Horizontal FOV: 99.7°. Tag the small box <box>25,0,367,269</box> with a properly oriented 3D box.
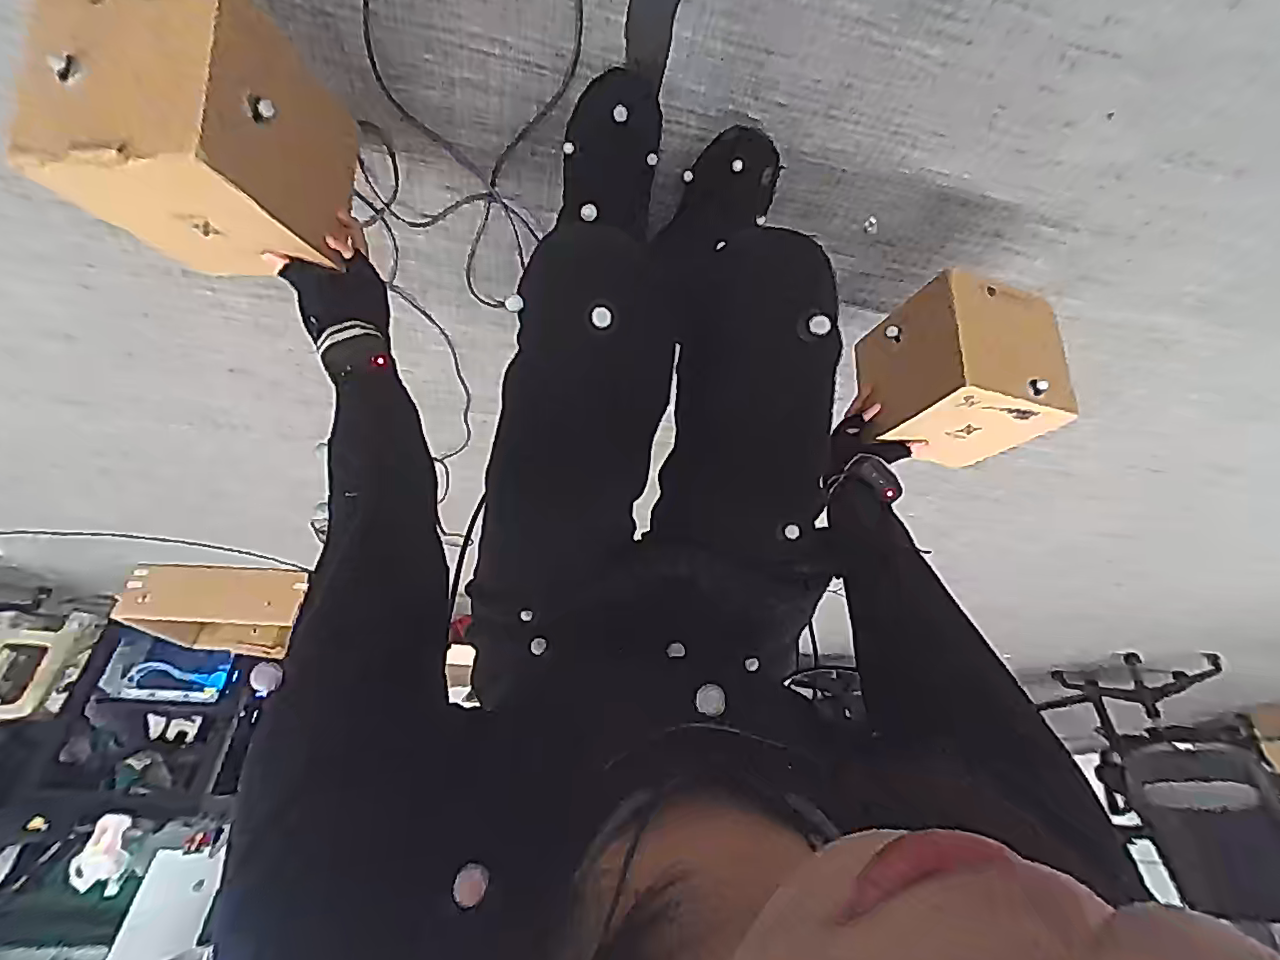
[{"bbox_3d":[-0.387,-0.320,0.506,0.168,0.176,0.179,3,173,7],"label":"small box"}]

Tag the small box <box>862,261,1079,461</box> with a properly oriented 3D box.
[{"bbox_3d":[0.411,-0.145,0.703,0.168,0.176,0.179,10,158,-13],"label":"small box"}]
